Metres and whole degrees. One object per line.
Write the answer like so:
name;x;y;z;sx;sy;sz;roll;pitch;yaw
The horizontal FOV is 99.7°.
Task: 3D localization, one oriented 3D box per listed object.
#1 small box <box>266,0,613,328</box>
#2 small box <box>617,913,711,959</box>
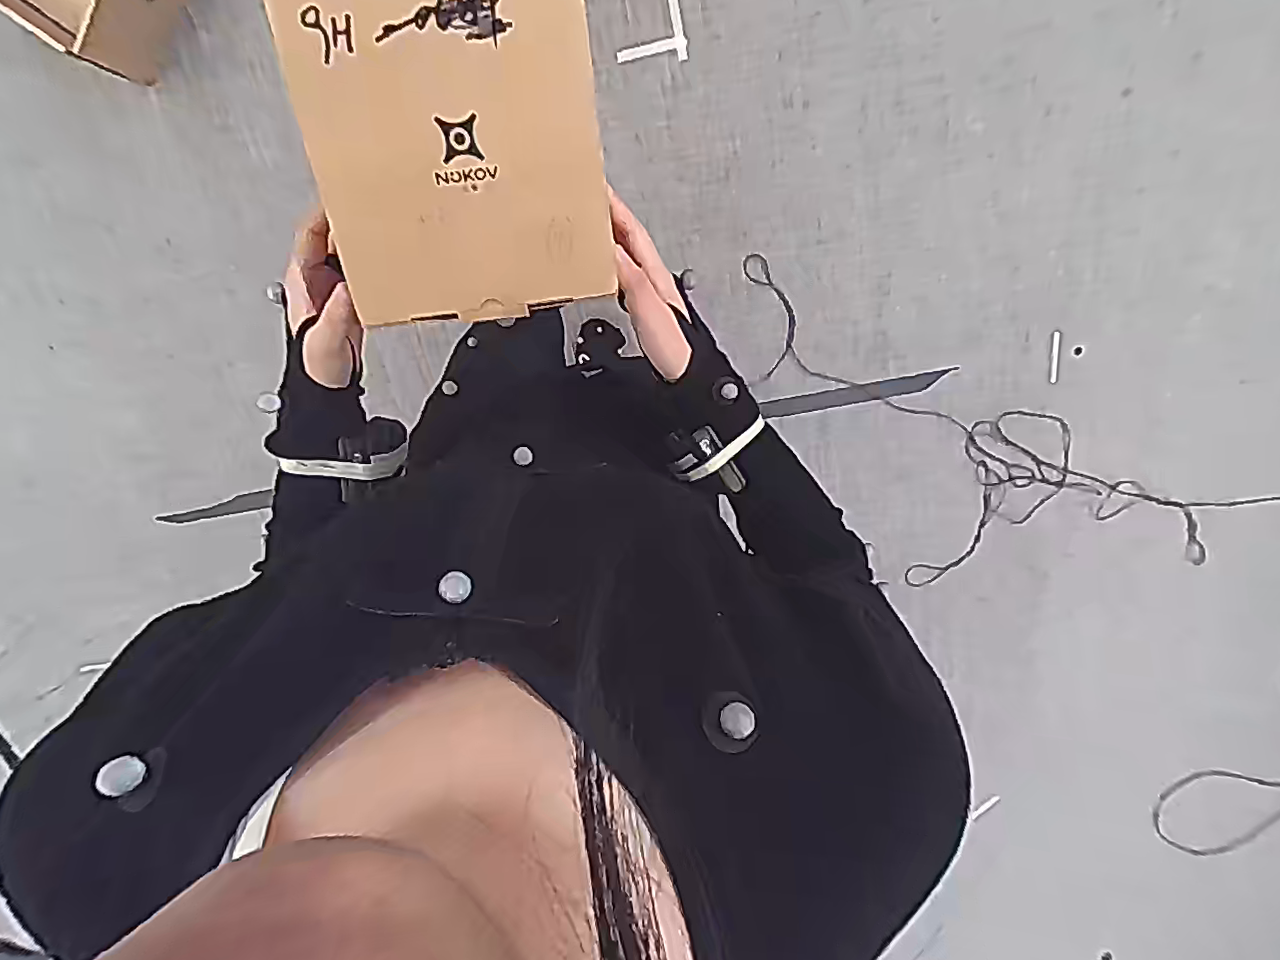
small box;-0.116;-0.217;0.388;0.168;0.176;0.179;-9;113;-6
small box;0.053;0.932;0.986;0.168;0.176;0.179;-12;109;1
